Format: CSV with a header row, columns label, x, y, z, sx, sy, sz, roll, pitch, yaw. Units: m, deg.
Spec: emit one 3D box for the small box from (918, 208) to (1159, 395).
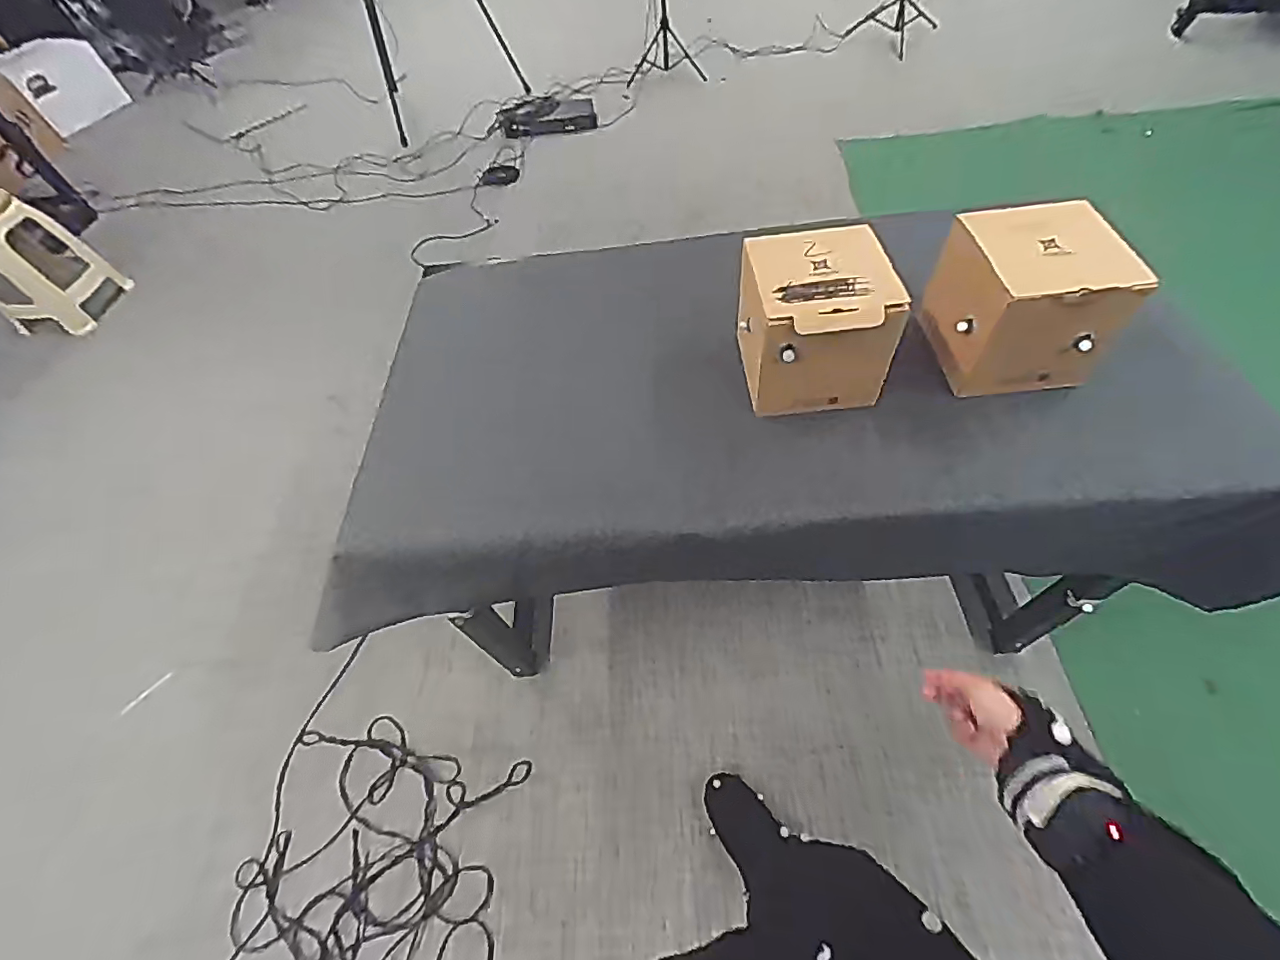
label,x,y,z,sx,sy,sz,roll,pitch,yaw
small box,0.499,-0.226,0.714,0.168,0.176,0.179,-5,54,2
